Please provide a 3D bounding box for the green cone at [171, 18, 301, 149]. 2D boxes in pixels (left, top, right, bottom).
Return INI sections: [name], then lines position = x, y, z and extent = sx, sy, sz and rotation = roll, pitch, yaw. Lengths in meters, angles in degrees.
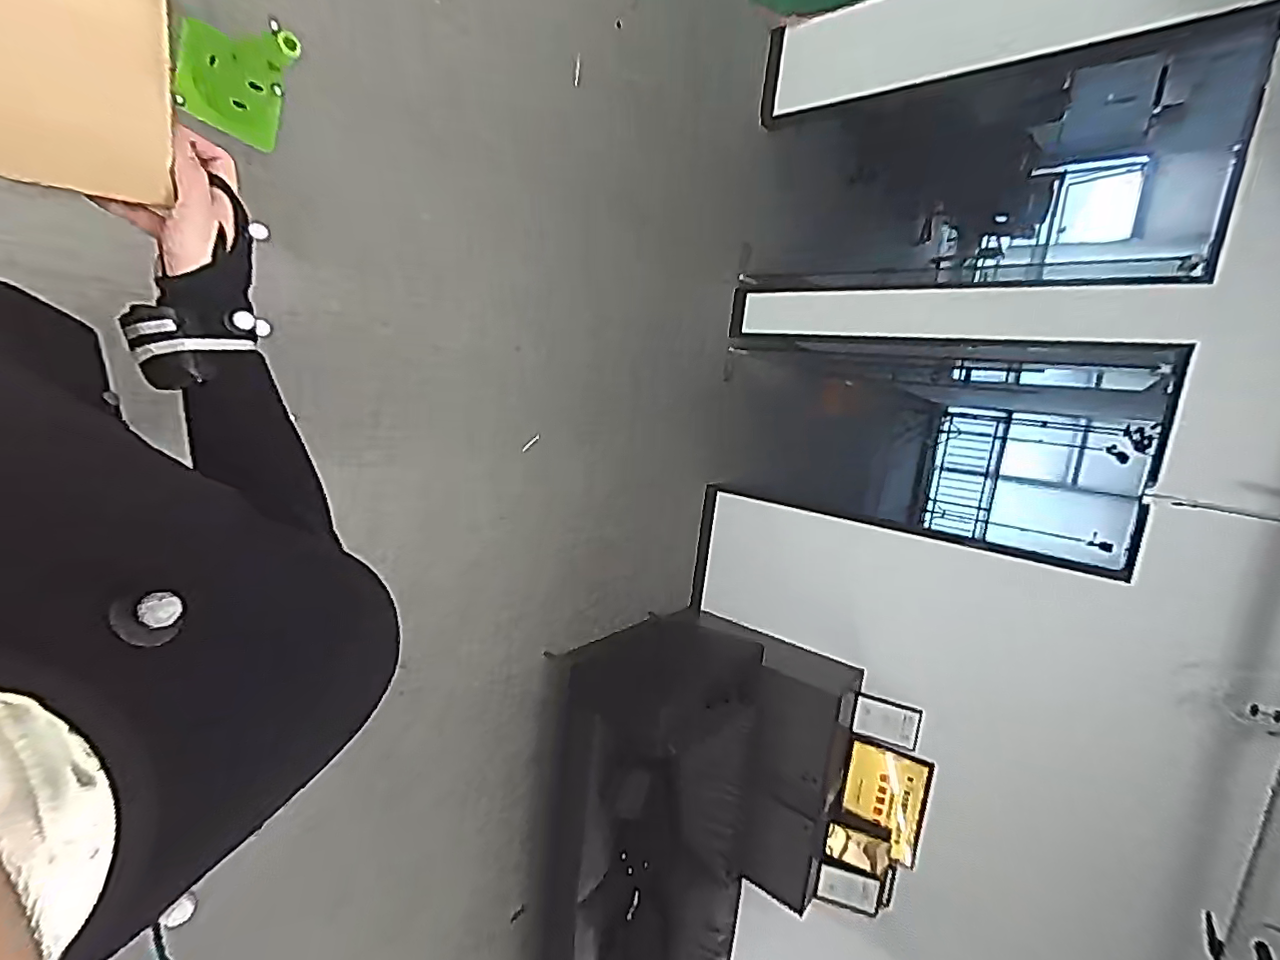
[green cone]
position = -0.823, -0.888, 1.161
extent = 0.200, 0.368, 0.202
rotation = 6, 94, -54
